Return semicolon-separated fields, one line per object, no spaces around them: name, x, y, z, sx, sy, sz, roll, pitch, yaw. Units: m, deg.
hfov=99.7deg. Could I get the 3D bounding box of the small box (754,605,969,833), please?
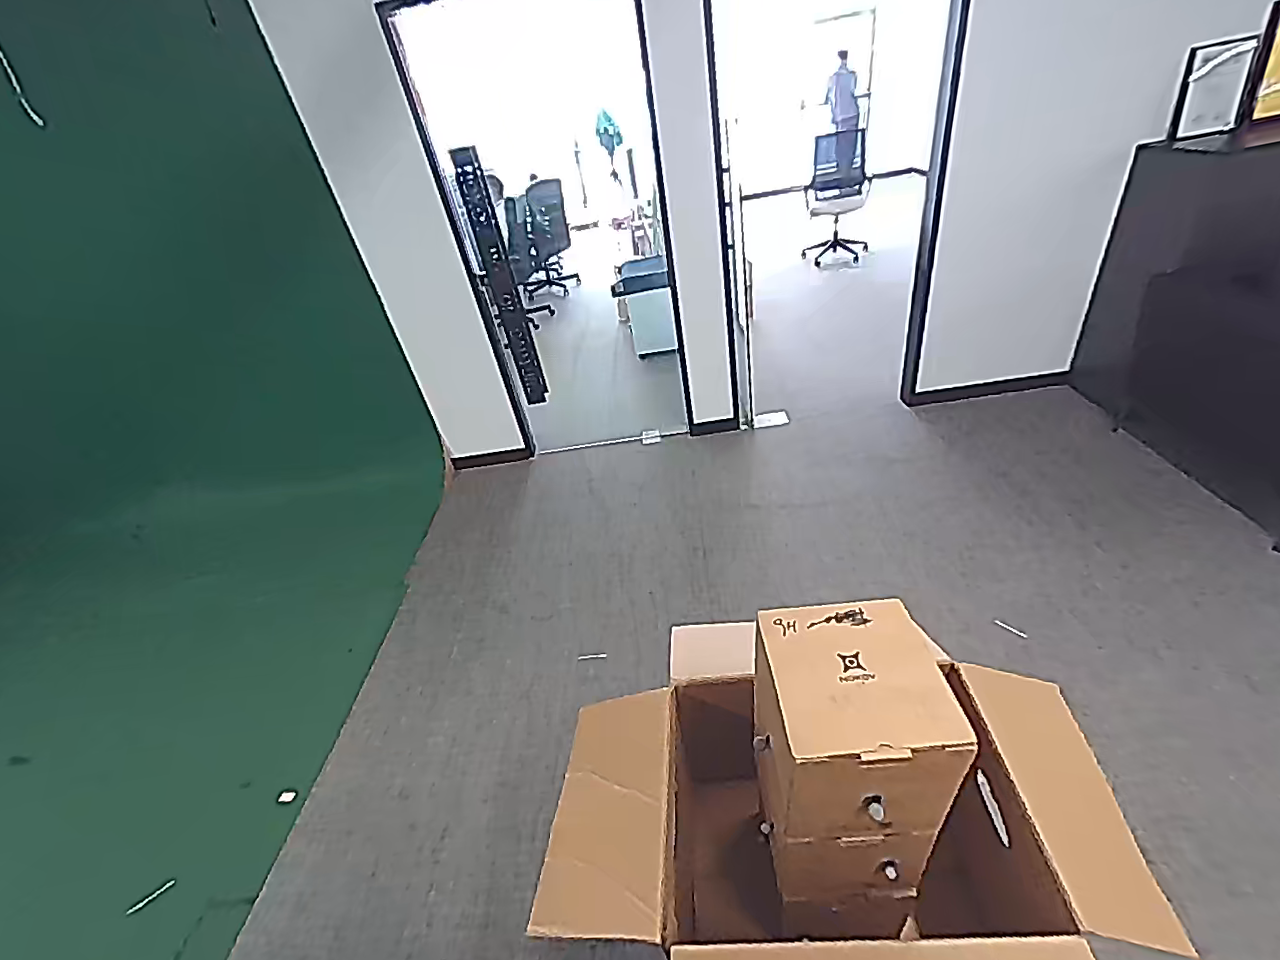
small box;0.222;0.266;0.598;0.168;0.176;0.179;-5;36;2
